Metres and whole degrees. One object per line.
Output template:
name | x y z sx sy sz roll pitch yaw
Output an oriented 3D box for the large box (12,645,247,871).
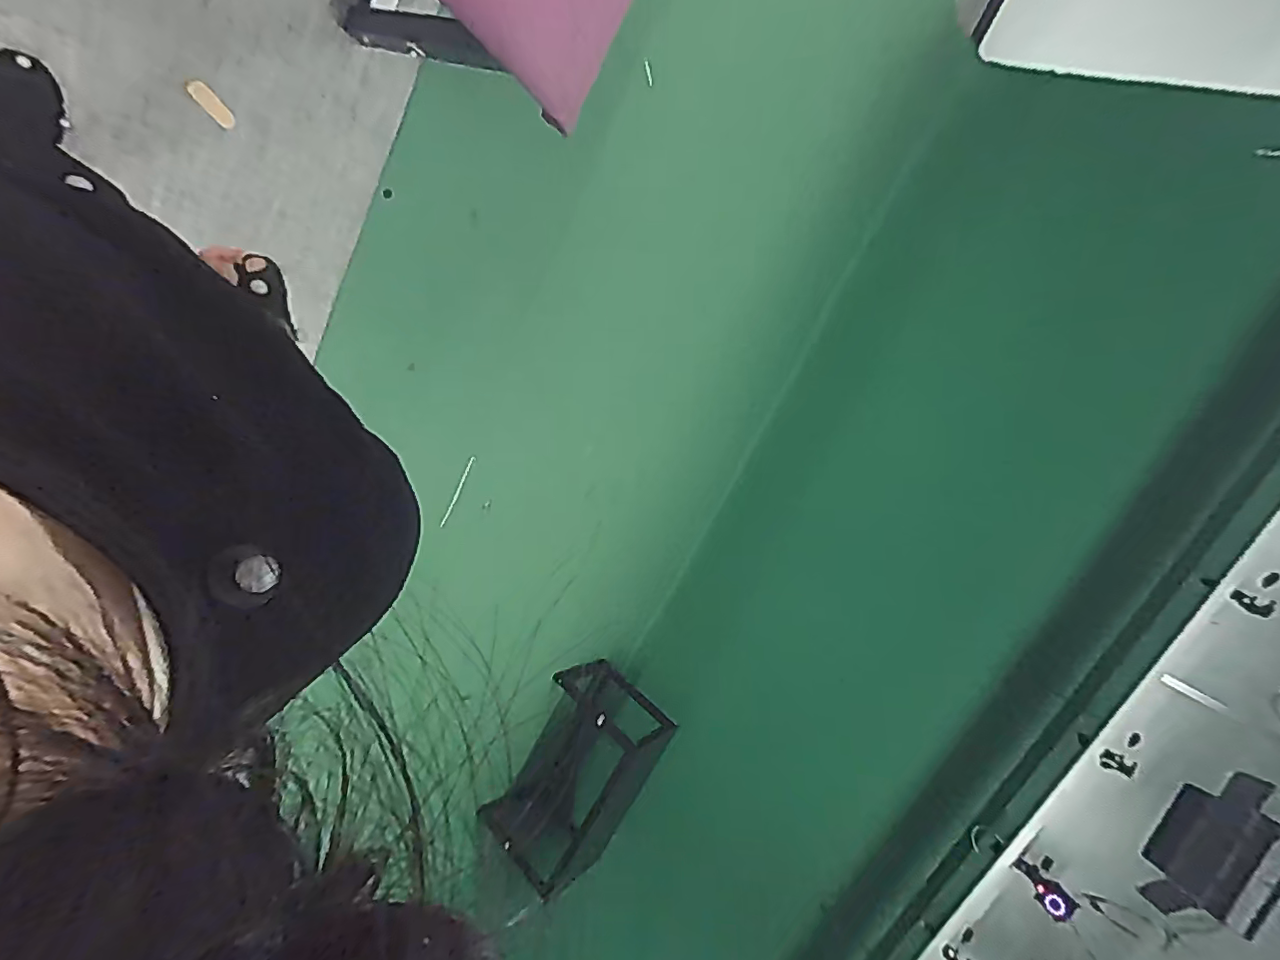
large box | -1.376 0.729 1.486 0.408 0.320 0.320 -14 131 -52
